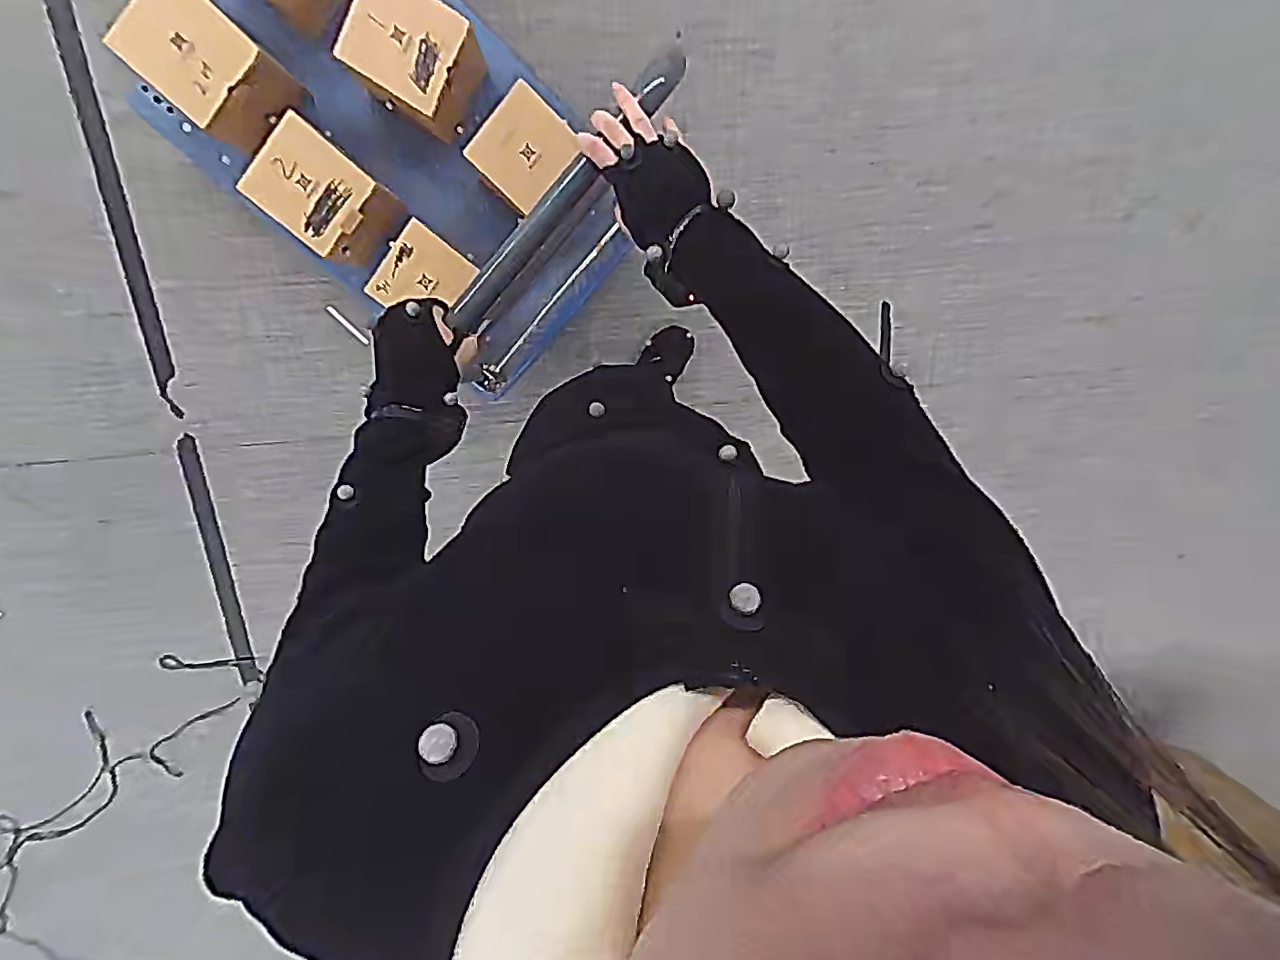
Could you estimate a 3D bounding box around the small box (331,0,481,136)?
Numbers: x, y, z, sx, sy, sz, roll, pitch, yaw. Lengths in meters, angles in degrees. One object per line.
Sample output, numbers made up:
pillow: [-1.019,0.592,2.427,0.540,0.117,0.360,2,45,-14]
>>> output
small box: [-0.407,-0.759,0.974,0.179,0.176,0.168,28,101,-13]

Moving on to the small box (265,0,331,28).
small box: [-0.620,-0.915,0.904,0.179,0.176,0.168,37,99,-15]

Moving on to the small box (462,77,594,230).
small box: [-0.207,-0.610,1.043,0.179,0.176,0.168,40,97,-15]

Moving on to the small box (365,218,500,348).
small box: [-0.401,-0.387,1.082,0.179,0.176,0.168,36,98,-15]

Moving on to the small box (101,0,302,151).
small box: [-0.746,-0.720,0.943,0.179,0.176,0.168,41,98,-17]
